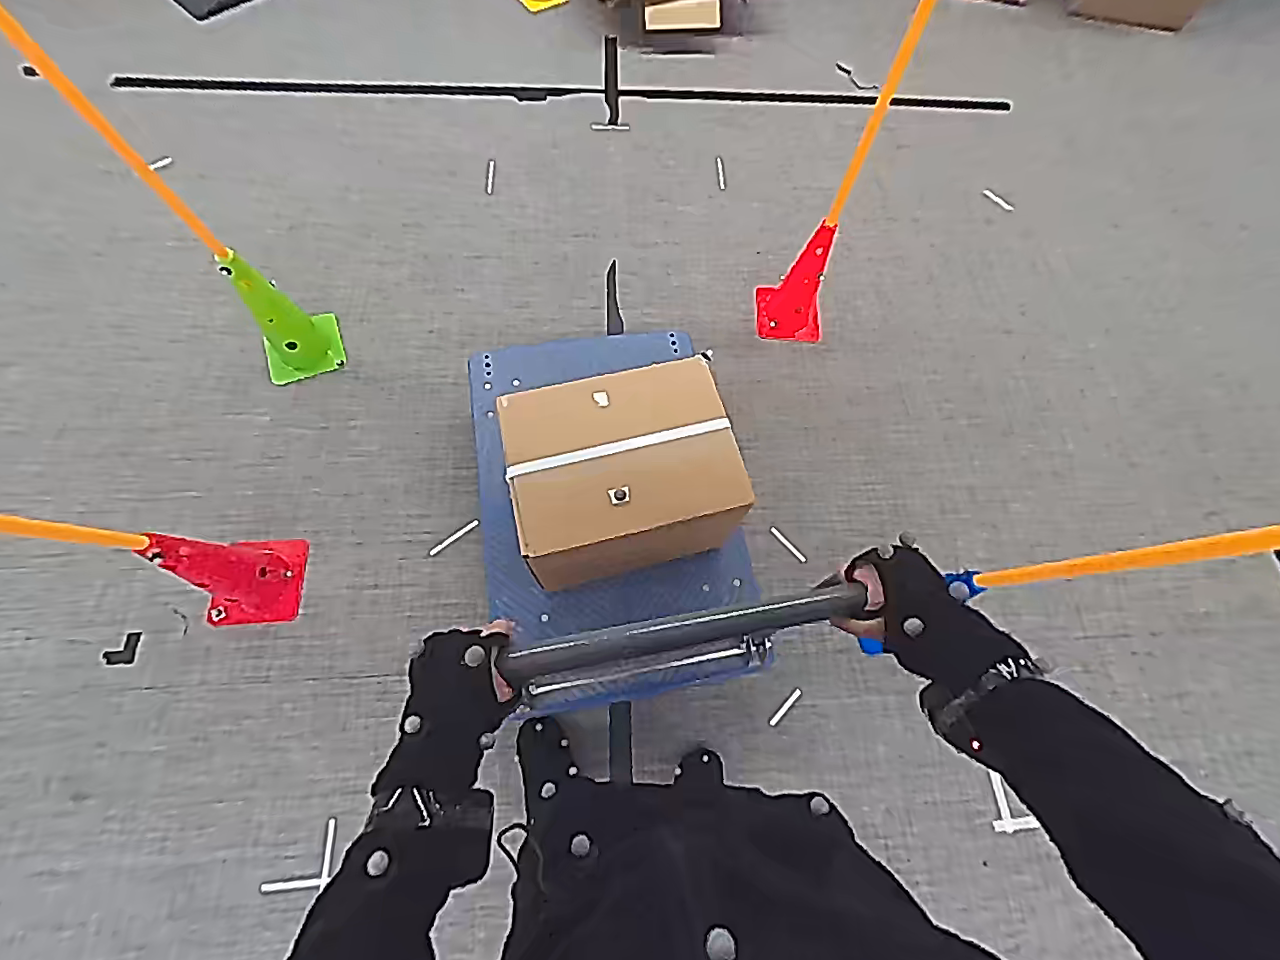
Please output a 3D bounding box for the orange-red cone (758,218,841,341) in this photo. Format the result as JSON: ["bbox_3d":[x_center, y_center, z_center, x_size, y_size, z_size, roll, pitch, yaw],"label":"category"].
[{"bbox_3d":[0.480,-0.585,1.526,0.199,0.360,0.198,6,68,-3],"label":"orange-red cone"}]

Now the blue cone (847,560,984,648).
[{"bbox_3d":[0.641,0.255,1.211,0.193,0.380,0.192,-4,67,-6],"label":"blue cone"}]
